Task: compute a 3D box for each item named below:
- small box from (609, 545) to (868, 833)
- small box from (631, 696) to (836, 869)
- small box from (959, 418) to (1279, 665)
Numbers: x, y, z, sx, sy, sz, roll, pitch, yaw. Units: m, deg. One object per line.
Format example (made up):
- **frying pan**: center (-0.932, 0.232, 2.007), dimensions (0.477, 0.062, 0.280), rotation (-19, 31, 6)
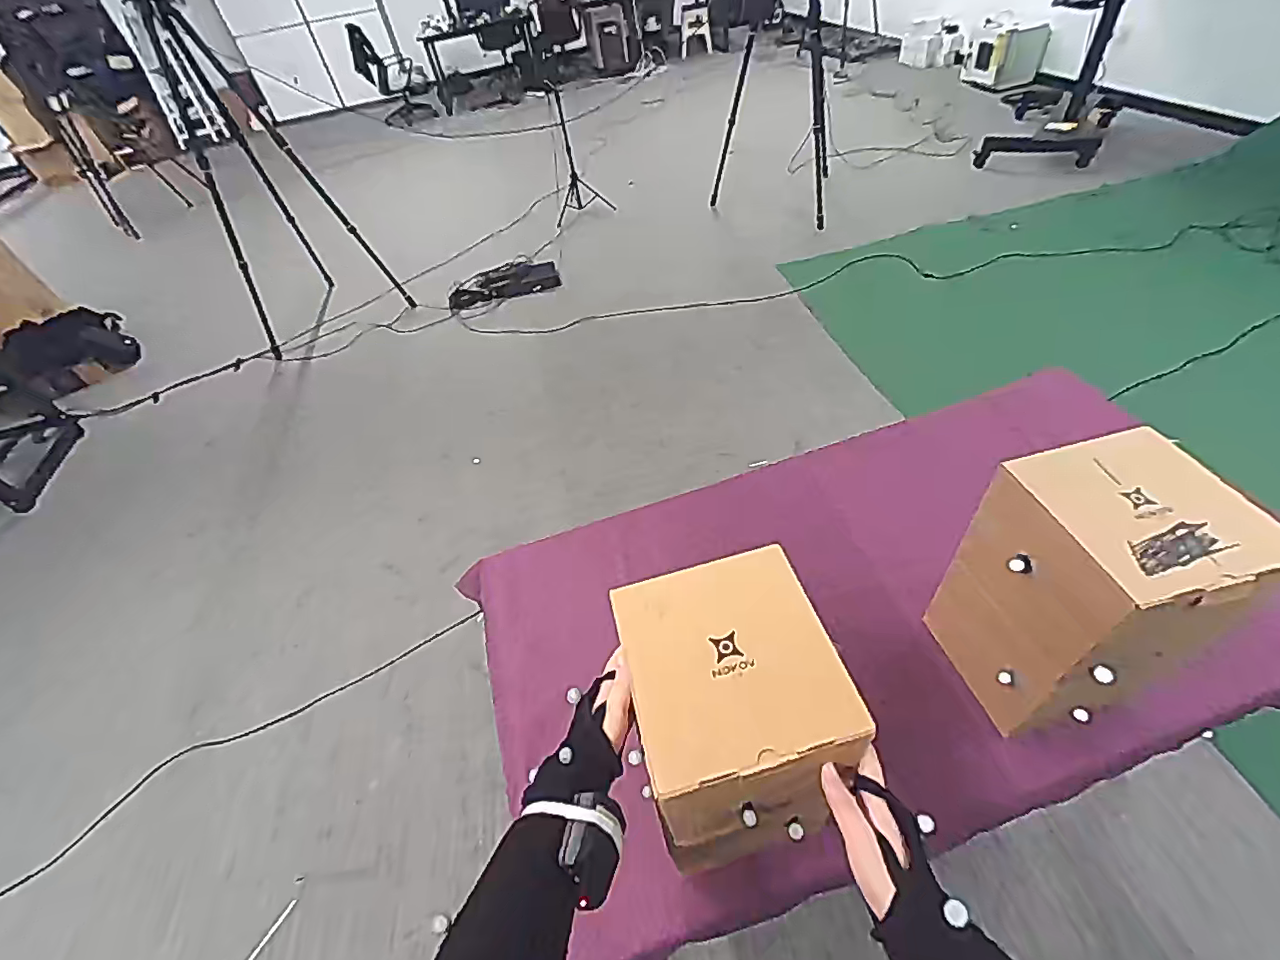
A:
- **small box**: center (0.077, 0.193, 0.499), dimensions (0.168, 0.176, 0.179), rotation (-16, 48, -4)
- **small box**: center (0.101, 0.324, 0.631), dimensions (0.179, 0.176, 0.168), rotation (-17, 46, -3)
- **small box**: center (0.471, 0.070, 0.557), dimensions (0.168, 0.176, 0.179), rotation (-15, 46, -1)
